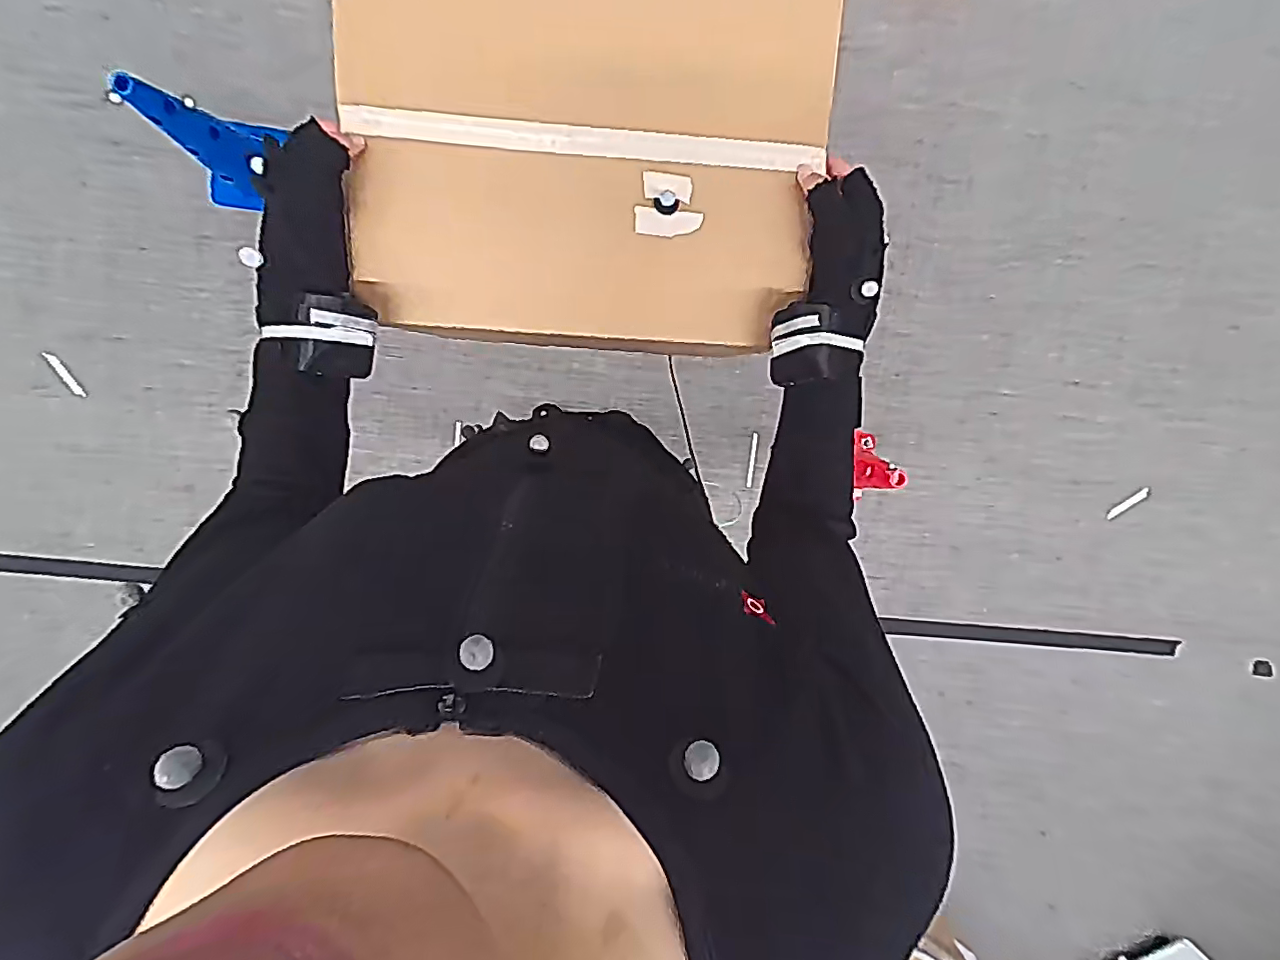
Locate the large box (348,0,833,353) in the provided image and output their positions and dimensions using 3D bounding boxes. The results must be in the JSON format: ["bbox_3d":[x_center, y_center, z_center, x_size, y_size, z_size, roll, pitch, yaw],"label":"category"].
[{"bbox_3d":[-0.053,-0.314,0.607,0.408,0.320,0.320,2,102,-5],"label":"large box"}]

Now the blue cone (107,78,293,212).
[{"bbox_3d":[-0.962,-0.751,1.184,0.192,0.380,0.193,9,98,-2],"label":"blue cone"}]
